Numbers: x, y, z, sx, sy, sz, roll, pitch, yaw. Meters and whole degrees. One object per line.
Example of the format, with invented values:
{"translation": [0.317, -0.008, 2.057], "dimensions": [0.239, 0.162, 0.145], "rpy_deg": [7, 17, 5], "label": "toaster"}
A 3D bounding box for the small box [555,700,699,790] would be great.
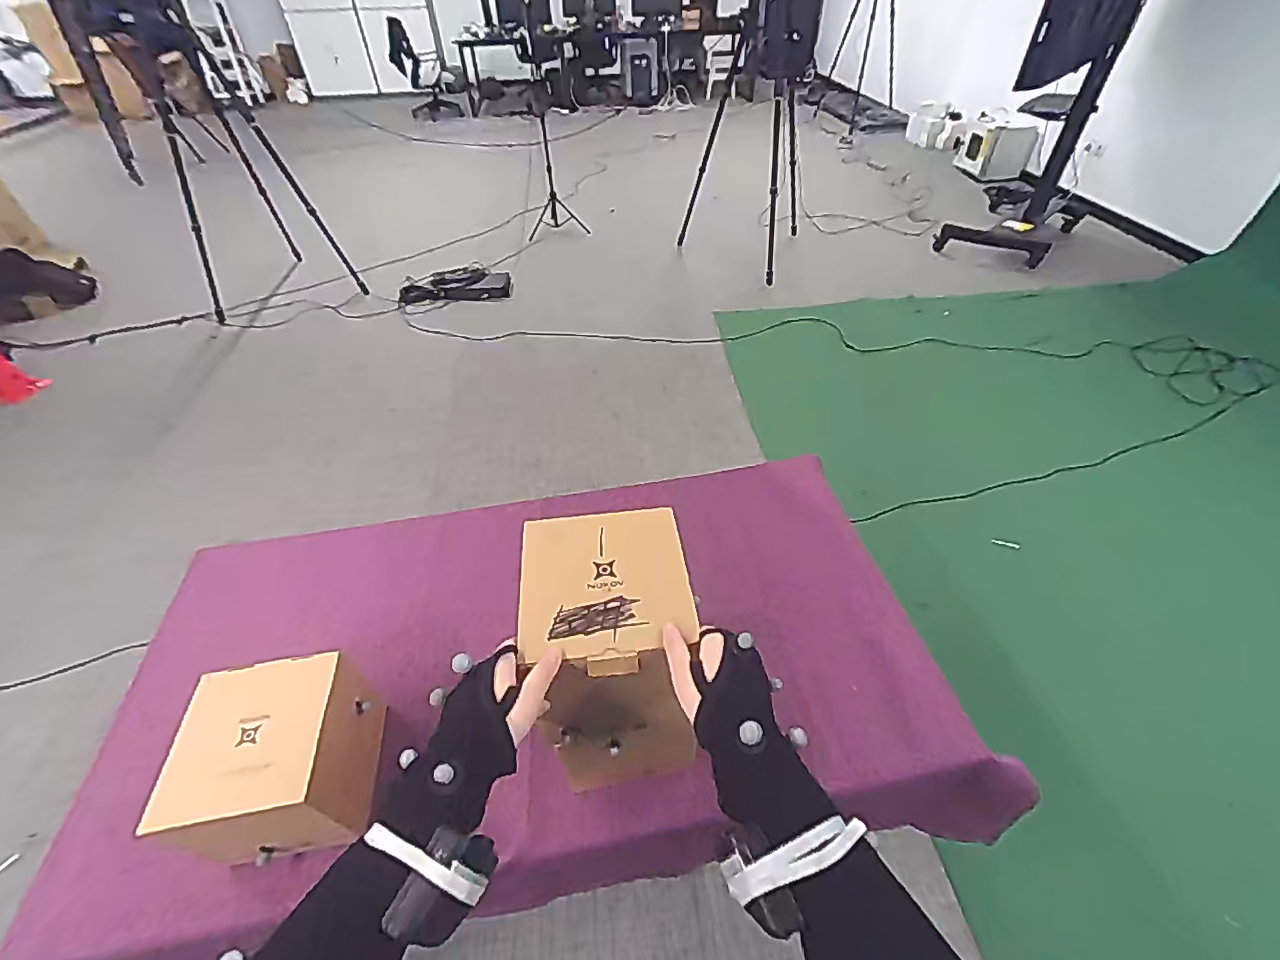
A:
{"translation": [-0.024, 0.280, 0.720], "dimensions": [0.168, 0.176, 0.179], "rpy_deg": [-9, 45, -5], "label": "small box"}

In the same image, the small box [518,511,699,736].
{"translation": [-0.032, 0.159, 0.589], "dimensions": [0.168, 0.176, 0.179], "rpy_deg": [-5, 42, -4], "label": "small box"}

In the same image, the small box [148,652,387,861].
{"translation": [-0.437, 0.344, 0.676], "dimensions": [0.168, 0.176, 0.179], "rpy_deg": [-8, 46, -5], "label": "small box"}
